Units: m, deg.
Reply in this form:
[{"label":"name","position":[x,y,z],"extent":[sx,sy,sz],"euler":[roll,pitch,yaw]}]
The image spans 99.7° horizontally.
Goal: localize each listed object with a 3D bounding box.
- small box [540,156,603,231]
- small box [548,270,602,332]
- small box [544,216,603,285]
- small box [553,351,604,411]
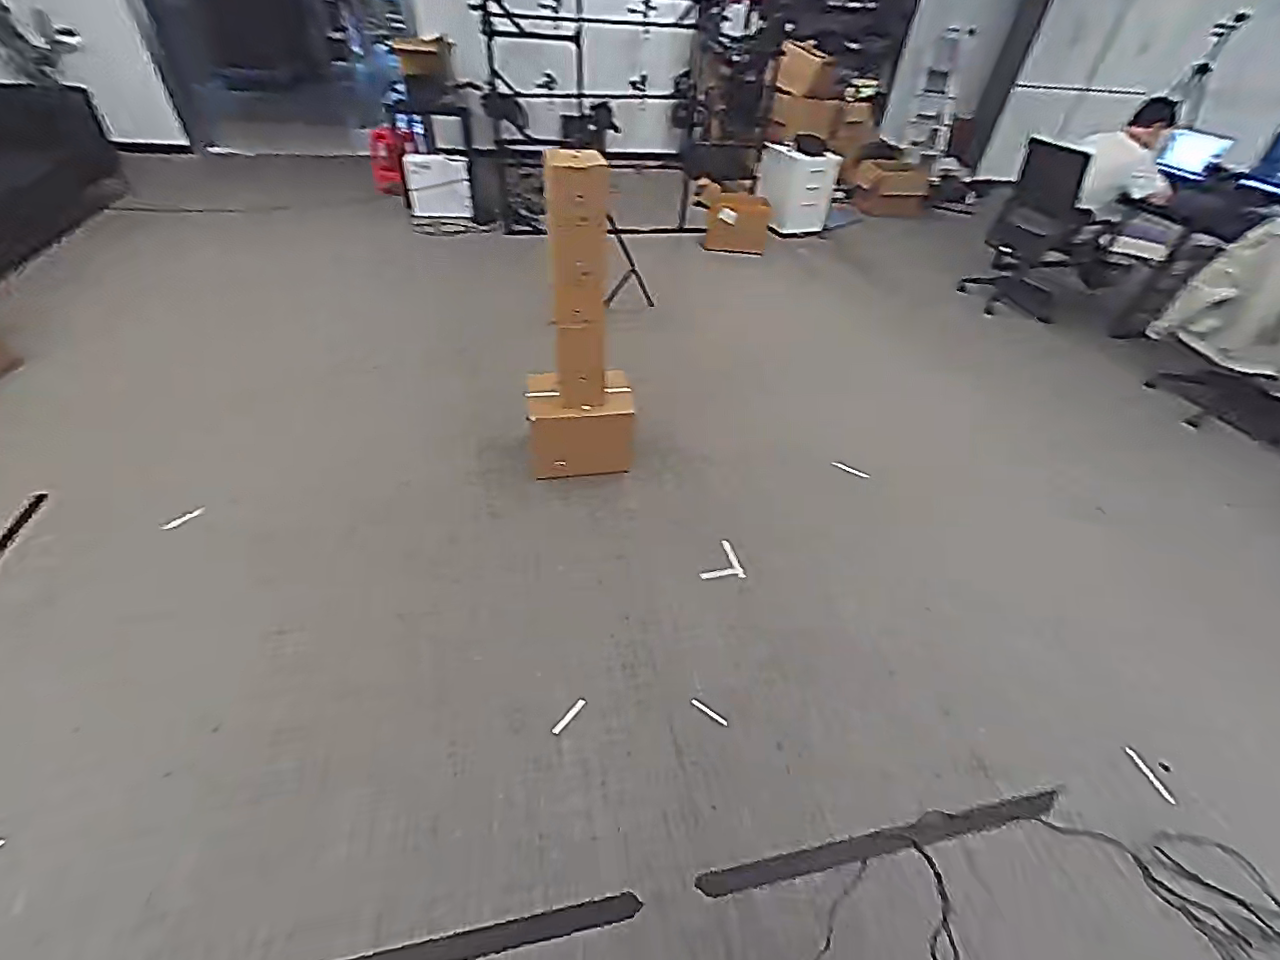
[{"label":"small box","position":[-0.208,-0.872,1.649],"extent":[0.168,0.176,0.179],"euler":[-7,45,-13]},{"label":"small box","position":[-0.227,-0.626,1.865],"extent":[0.168,0.176,0.179],"euler":[-6,45,-12]},{"label":"small box","position":[-0.218,-0.749,1.756],"extent":[0.168,0.176,0.179],"euler":[-7,45,-12]},{"label":"small box","position":[-0.237,-0.380,2.080],"extent":[0.179,0.176,0.168],"euler":[-6,45,-13]}]
